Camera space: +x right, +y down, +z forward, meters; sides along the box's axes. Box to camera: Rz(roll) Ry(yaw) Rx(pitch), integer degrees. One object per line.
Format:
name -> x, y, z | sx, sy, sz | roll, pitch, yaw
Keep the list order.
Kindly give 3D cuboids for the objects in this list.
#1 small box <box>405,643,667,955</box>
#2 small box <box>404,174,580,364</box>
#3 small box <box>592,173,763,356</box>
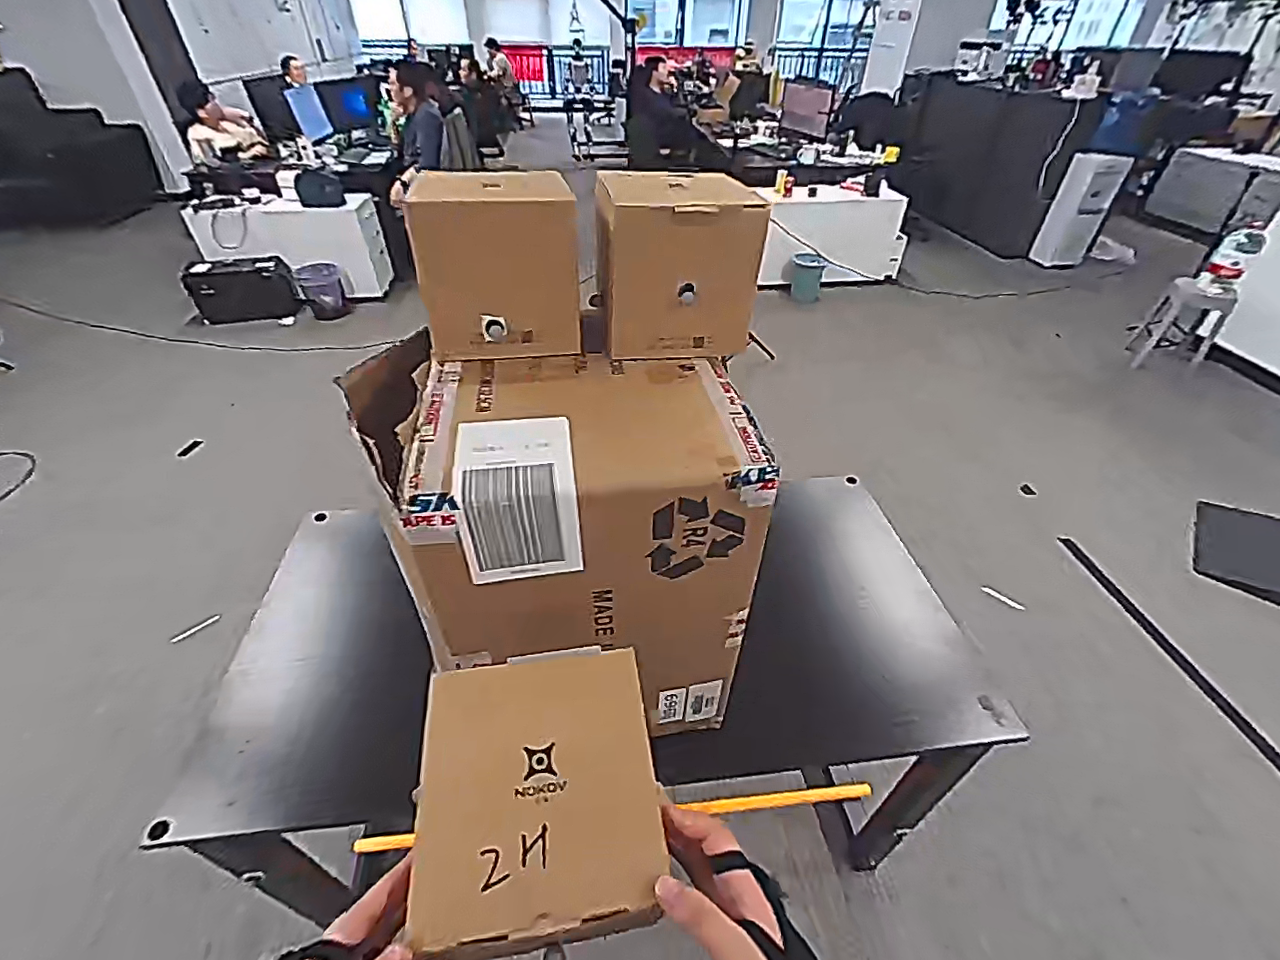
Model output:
small box -> -0.078, 0.263, 0.450 | 0.168, 0.176, 0.179 | -5, 47, -8
small box -> -0.166, -0.253, 0.641 | 0.168, 0.176, 0.179 | -8, 40, -11
small box -> 0.032, -0.261, 0.658 | 0.168, 0.176, 0.179 | -4, 41, -9
